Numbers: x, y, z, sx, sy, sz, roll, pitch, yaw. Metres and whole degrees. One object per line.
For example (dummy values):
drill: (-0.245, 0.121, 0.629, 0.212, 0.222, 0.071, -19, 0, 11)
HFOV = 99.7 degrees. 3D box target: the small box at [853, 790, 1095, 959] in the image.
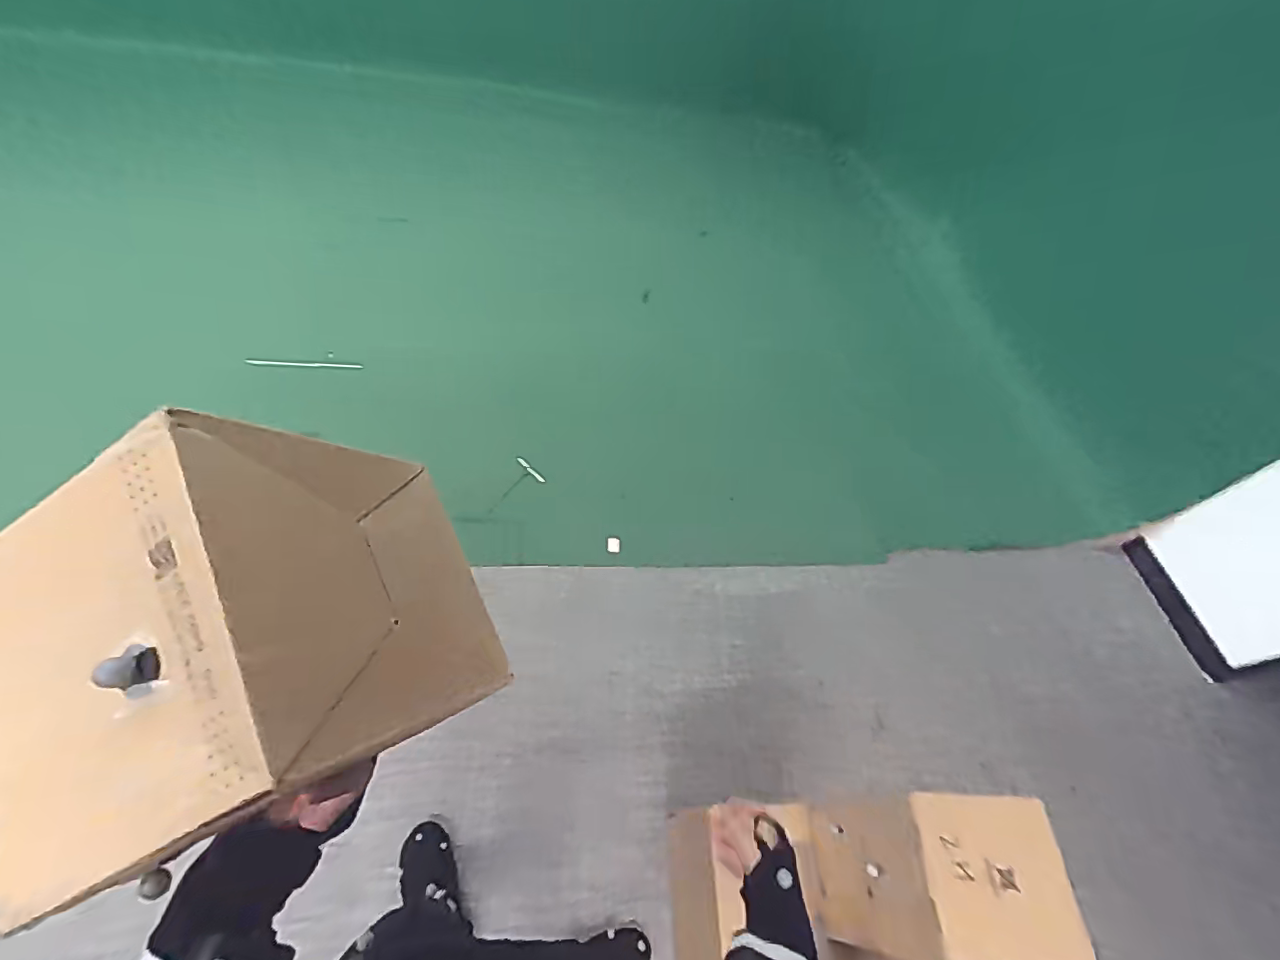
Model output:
small box: (0.399, 0.497, 0.681, 0.179, 0.176, 0.168, 6, 54, -4)
